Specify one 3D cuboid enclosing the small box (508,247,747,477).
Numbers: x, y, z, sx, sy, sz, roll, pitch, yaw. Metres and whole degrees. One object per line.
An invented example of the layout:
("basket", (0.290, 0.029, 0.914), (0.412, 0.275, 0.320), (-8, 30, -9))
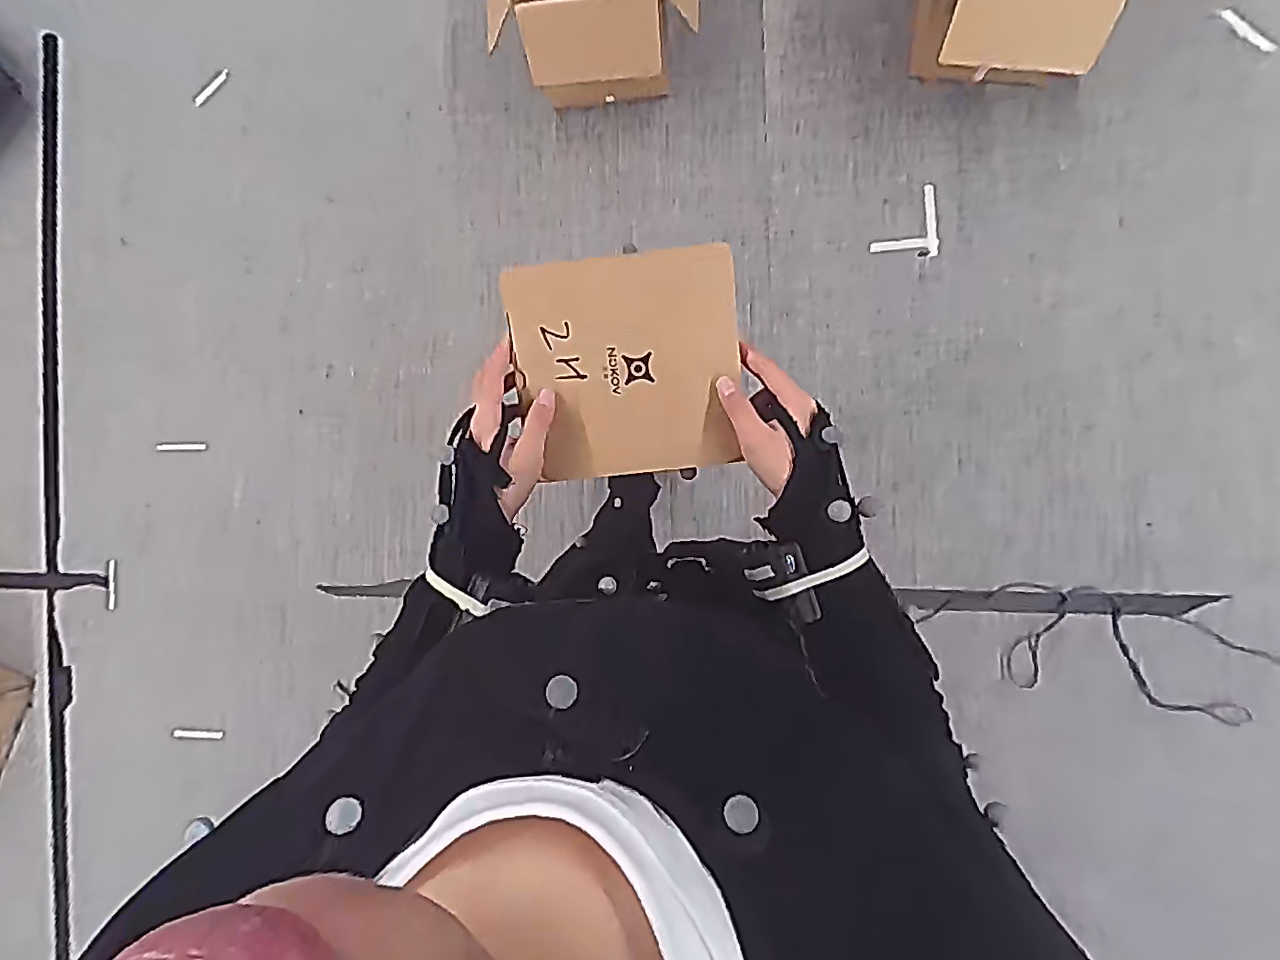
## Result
("small box", (-0.007, -0.105, 0.497), (0.179, 0.176, 0.168), (-5, 101, 2))
